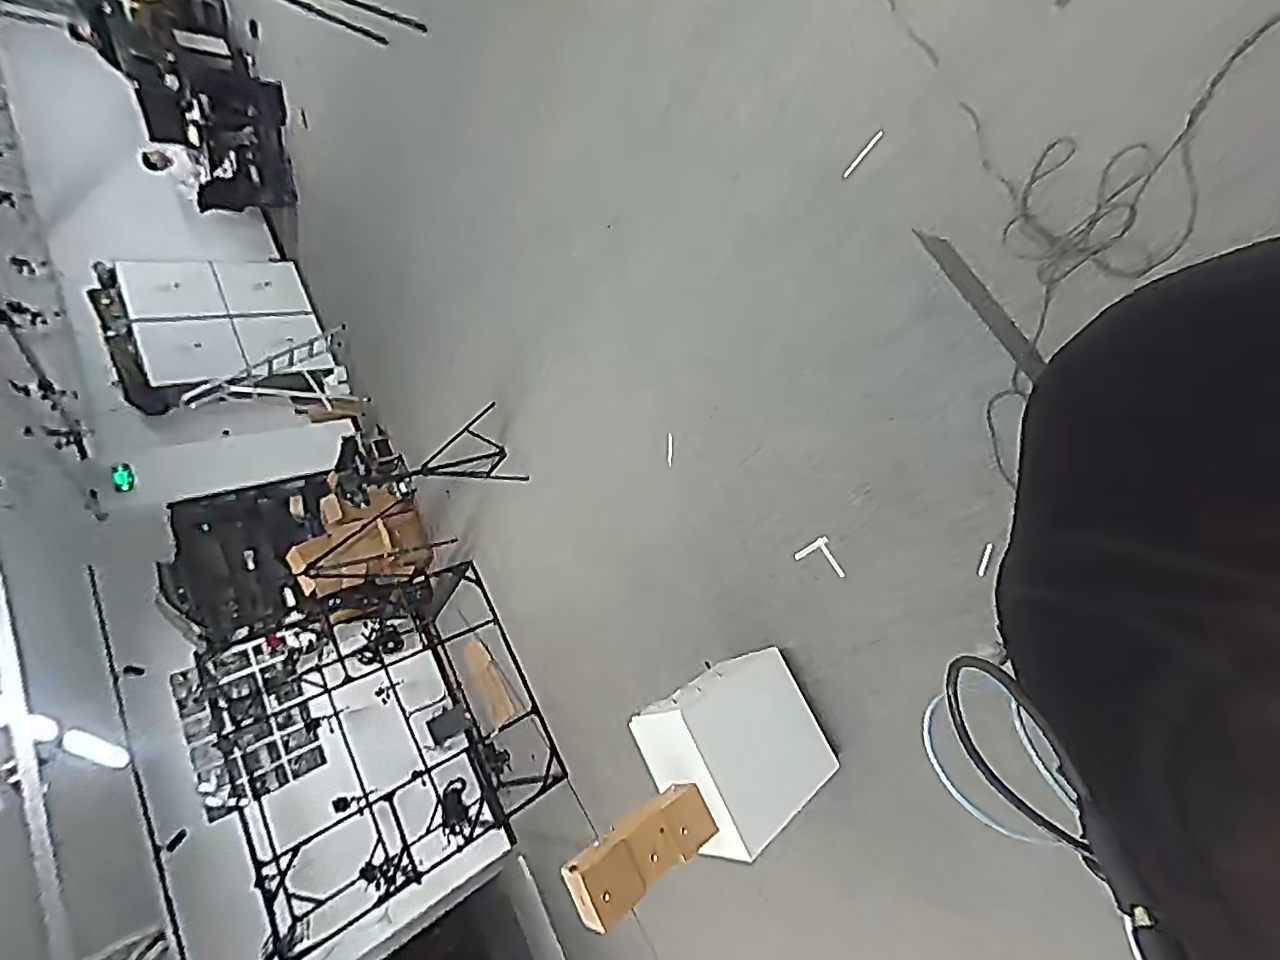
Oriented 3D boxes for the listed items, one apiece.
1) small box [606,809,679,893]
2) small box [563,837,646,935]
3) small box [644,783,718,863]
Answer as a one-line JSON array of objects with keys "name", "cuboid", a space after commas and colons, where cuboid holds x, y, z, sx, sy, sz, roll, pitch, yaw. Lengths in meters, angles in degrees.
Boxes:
[{"name": "small box", "cuboid": [0.009, 1.235, 1.813, 0.168, 0.176, 0.179, 62, 142, 13]}, {"name": "small box", "cuboid": [-0.108, 1.266, 1.699, 0.168, 0.176, 0.179, -44, 69, 49]}, {"name": "small box", "cuboid": [0.143, 1.200, 1.899, 0.168, 0.176, 0.179, -45, 68, 49]}]
